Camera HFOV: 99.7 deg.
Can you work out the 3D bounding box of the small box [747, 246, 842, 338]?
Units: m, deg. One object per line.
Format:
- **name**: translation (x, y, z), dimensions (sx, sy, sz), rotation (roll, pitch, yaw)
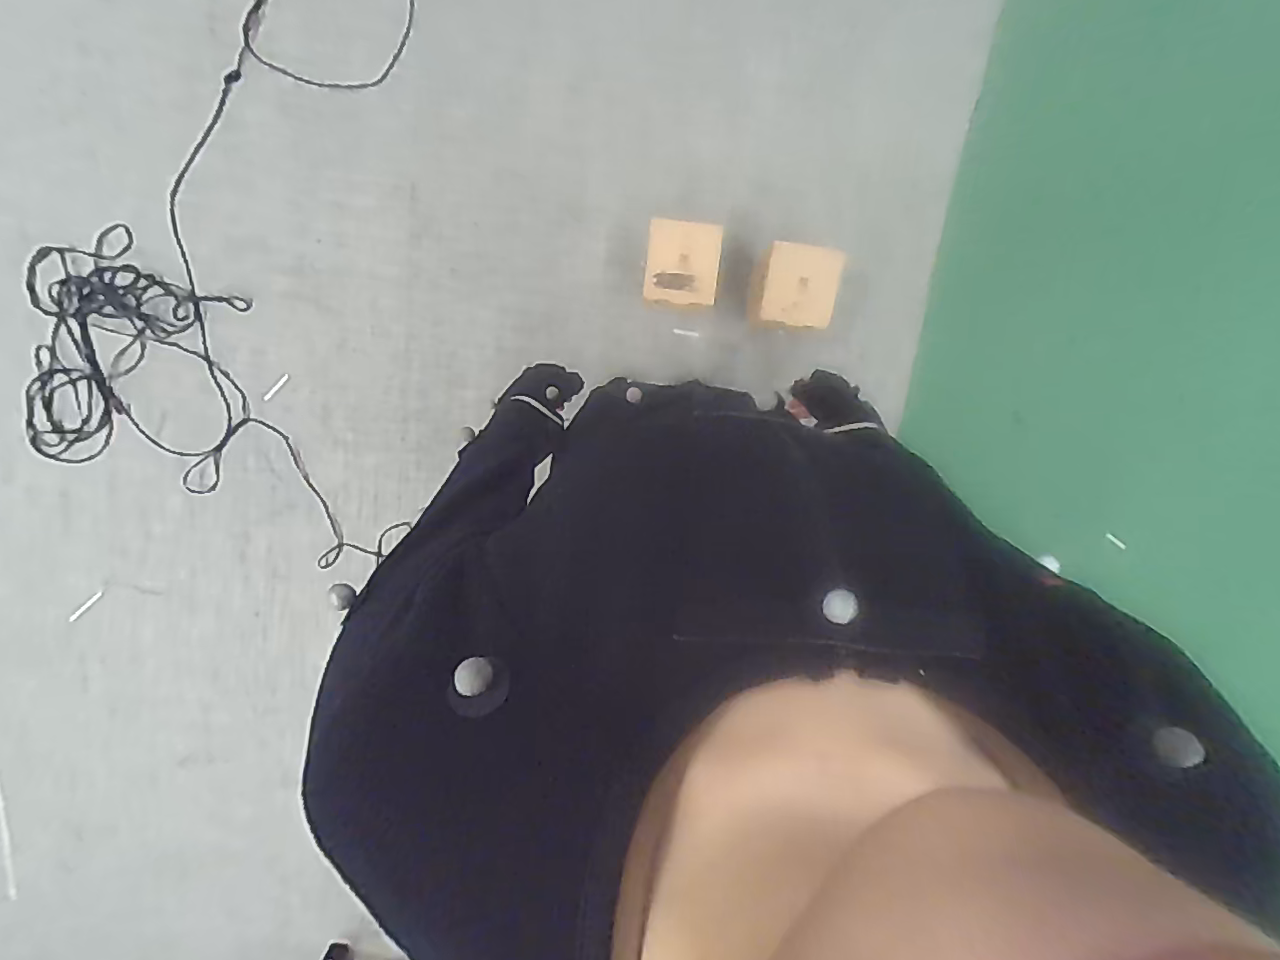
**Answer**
- **small box**: translation (0.368, -0.453, 1.324), dimensions (0.168, 0.176, 0.179), rotation (9, 101, -2)
